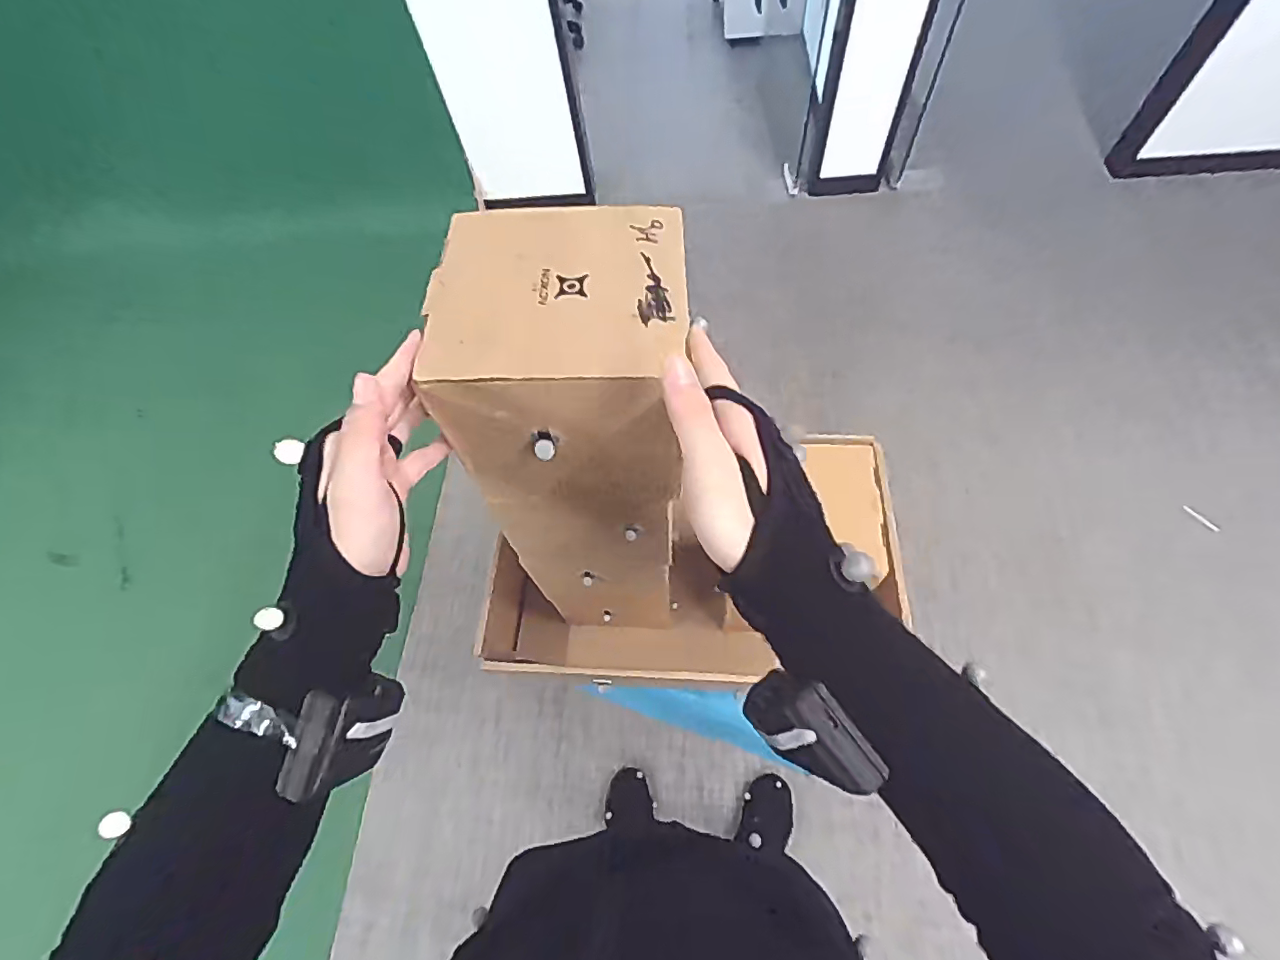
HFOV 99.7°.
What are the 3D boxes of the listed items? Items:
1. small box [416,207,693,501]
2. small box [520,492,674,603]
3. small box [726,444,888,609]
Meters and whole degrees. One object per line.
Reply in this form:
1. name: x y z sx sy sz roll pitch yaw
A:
1. small box: -0.049 -0.091 0.438 0.179 0.176 0.168 -1 61 2
2. small box: -0.045 0.064 0.733 0.179 0.176 0.168 1 62 4
3. small box: 0.203 0.066 0.708 0.179 0.176 0.168 1 62 8
